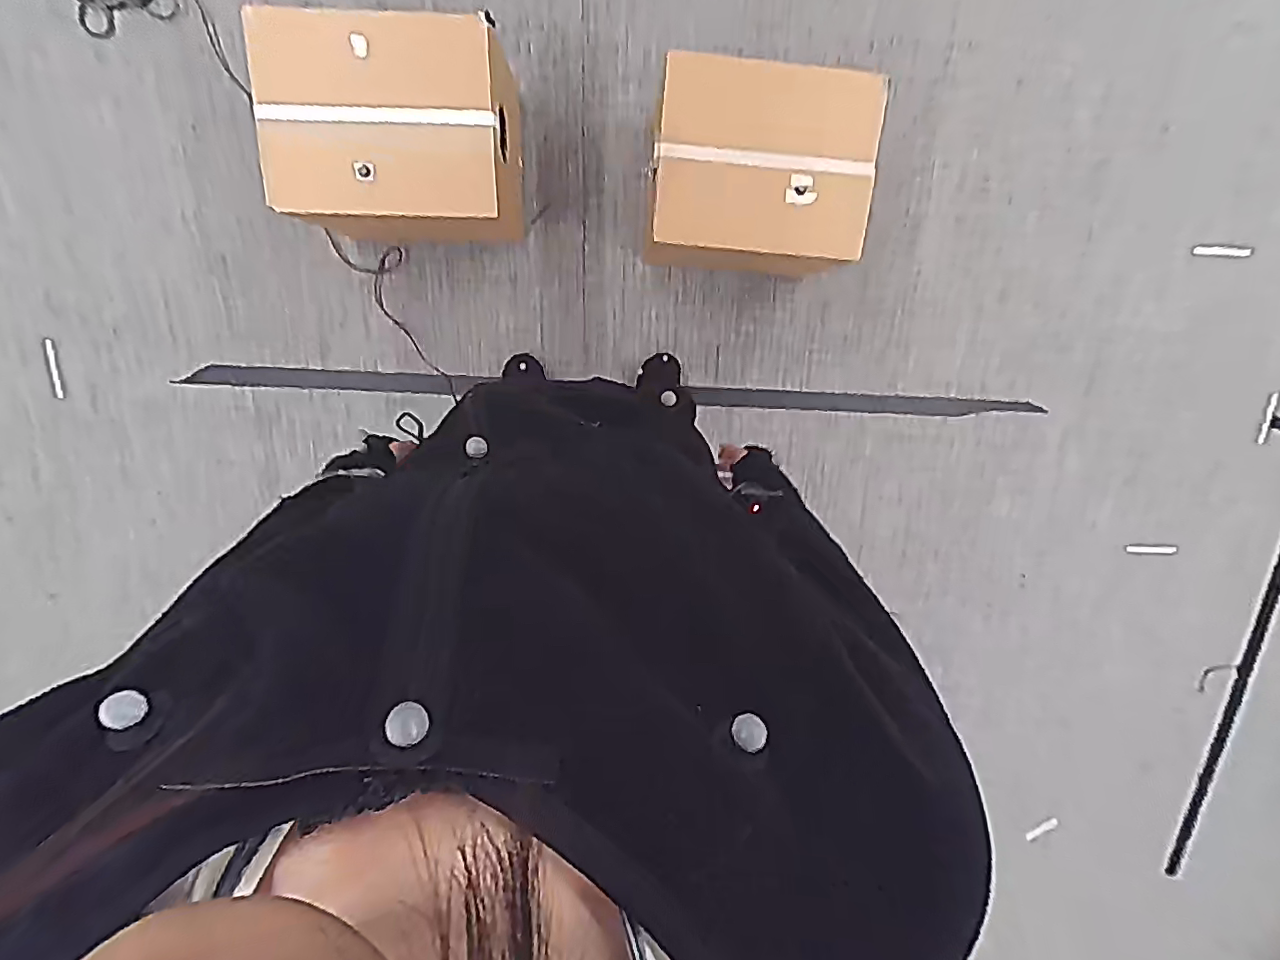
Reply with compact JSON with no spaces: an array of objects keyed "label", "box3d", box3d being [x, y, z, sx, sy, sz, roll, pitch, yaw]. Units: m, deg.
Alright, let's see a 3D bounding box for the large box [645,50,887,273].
[{"label":"large box","box3d":[0.227,-0.630,1.138,0.408,0.320,0.320,4,105,-5]}]
